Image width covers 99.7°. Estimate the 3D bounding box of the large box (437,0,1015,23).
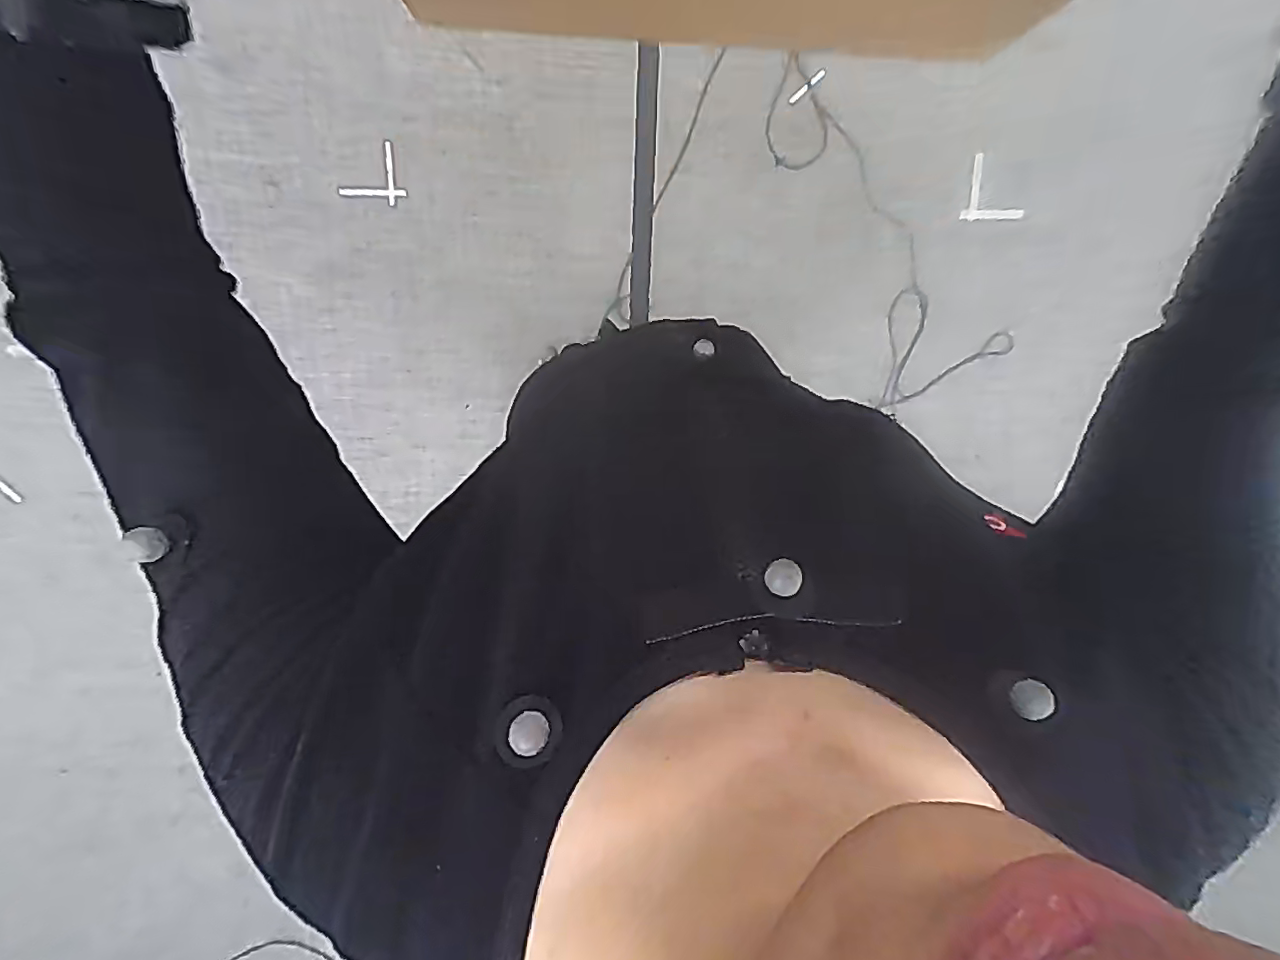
[{"bbox_3d":[0.058,-0.422,0.186,0.408,0.320,0.320,0,107,-4],"label":"large box"}]
